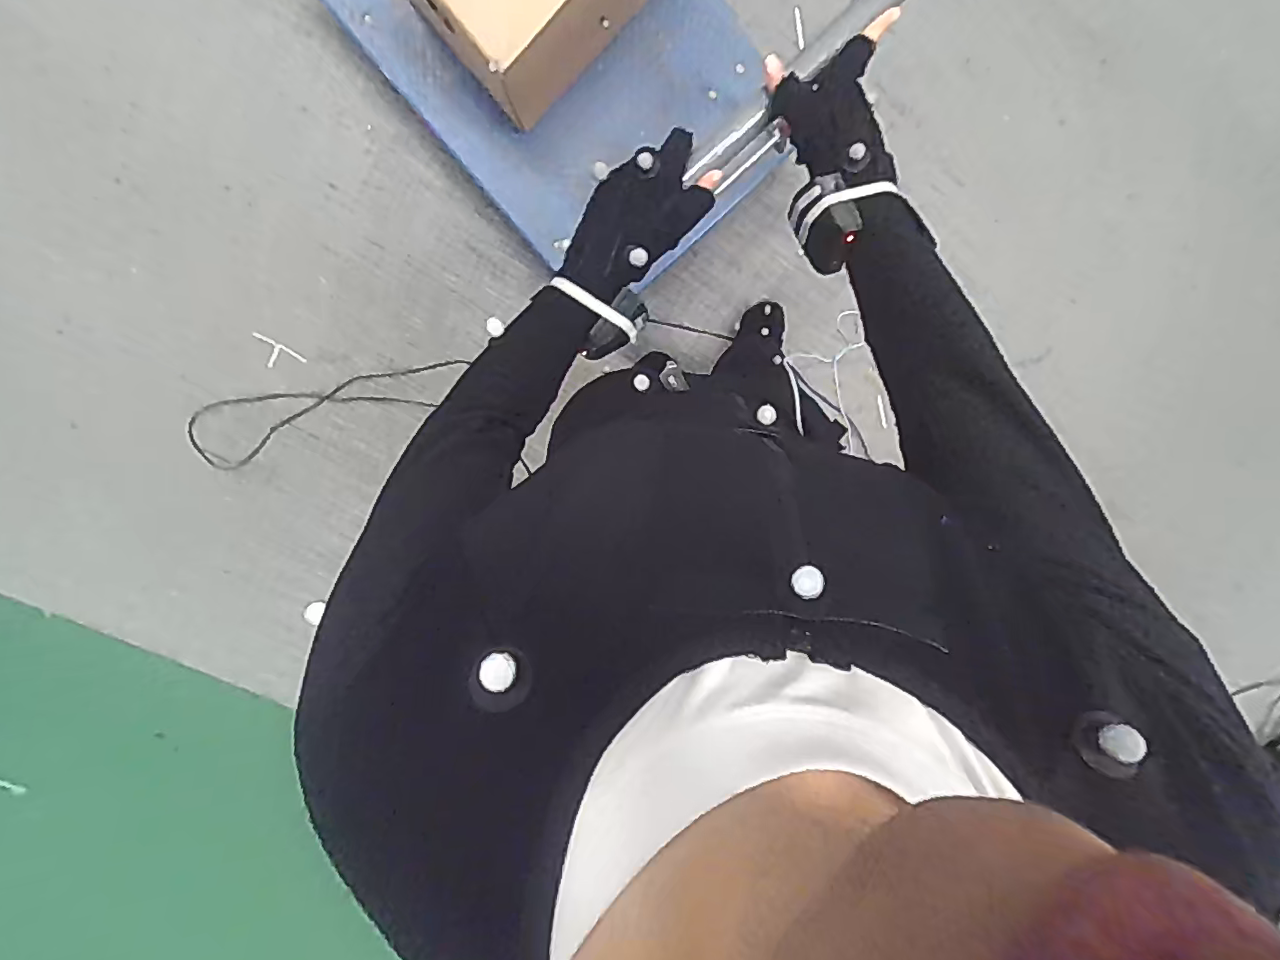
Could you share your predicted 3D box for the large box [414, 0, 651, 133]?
[{"bbox_3d":[-0.162,-0.871,0.862,0.408,0.320,0.320,-43,106,10],"label":"large box"}]
